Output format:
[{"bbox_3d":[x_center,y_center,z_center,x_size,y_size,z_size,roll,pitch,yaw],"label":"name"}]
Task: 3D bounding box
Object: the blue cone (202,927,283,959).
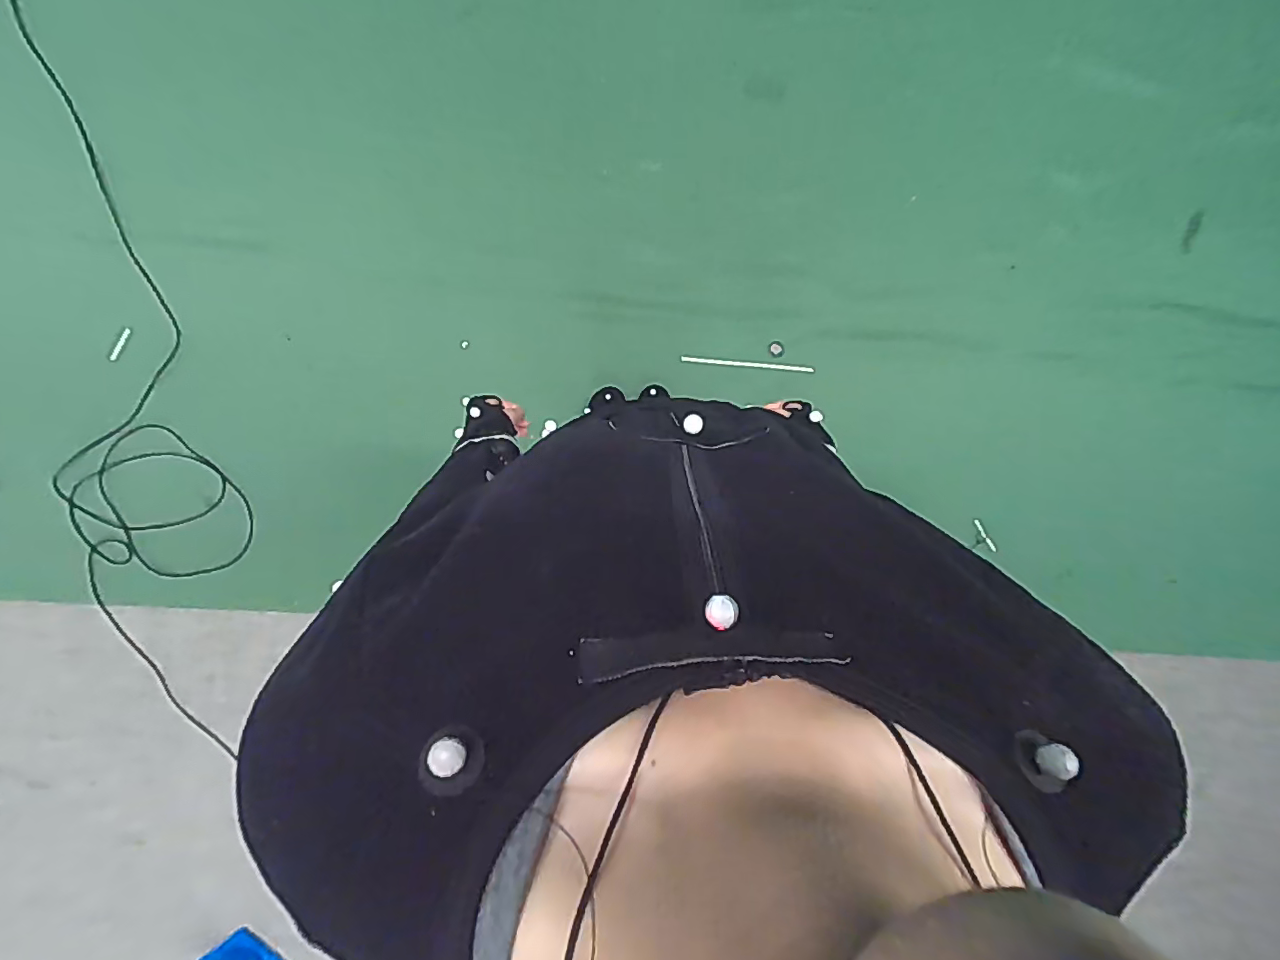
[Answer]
[{"bbox_3d":[-1.179,1.478,1.462,0.193,0.380,0.192,-39,102,4],"label":"blue cone"}]
